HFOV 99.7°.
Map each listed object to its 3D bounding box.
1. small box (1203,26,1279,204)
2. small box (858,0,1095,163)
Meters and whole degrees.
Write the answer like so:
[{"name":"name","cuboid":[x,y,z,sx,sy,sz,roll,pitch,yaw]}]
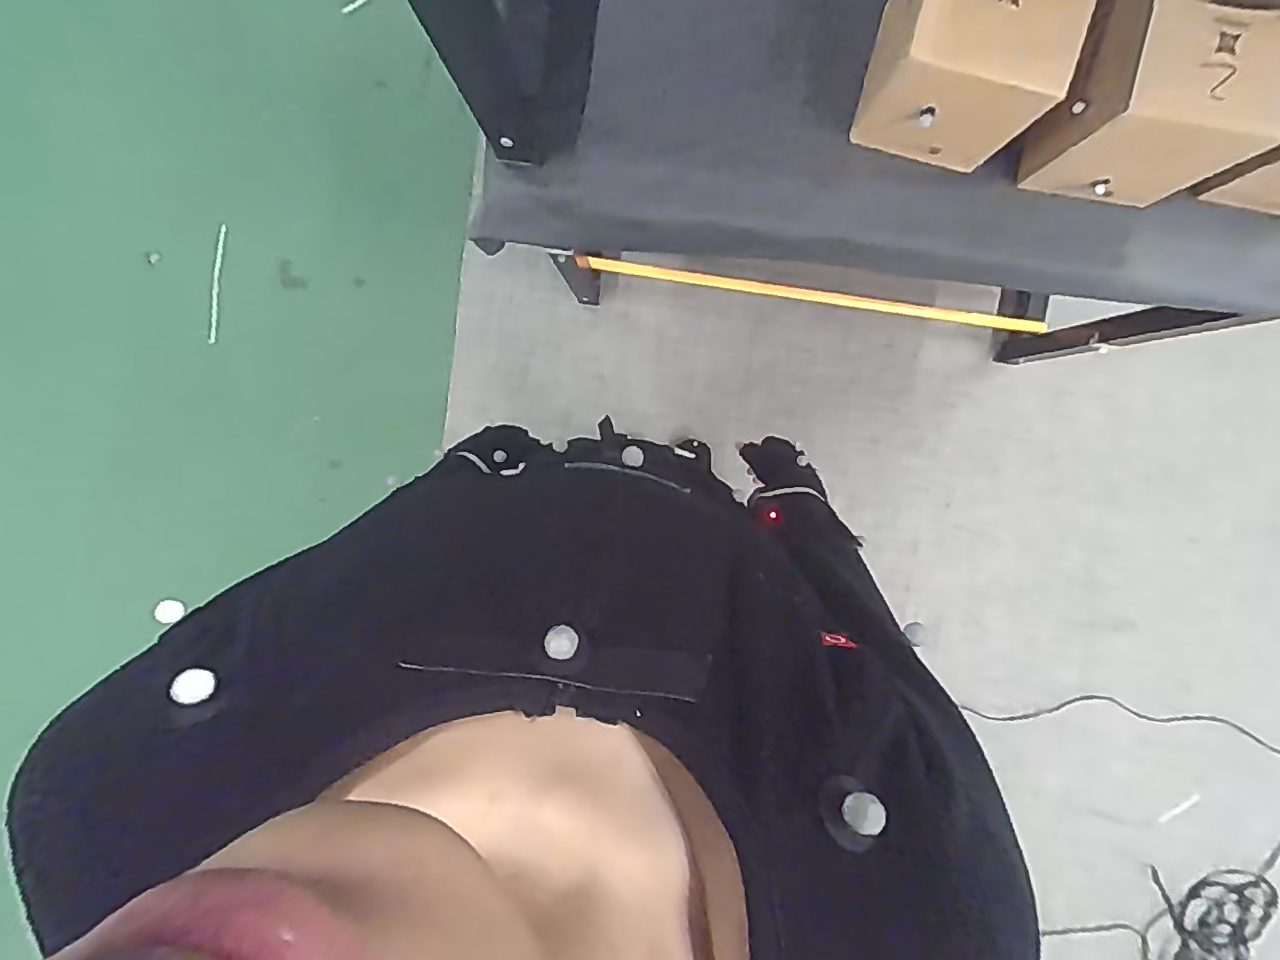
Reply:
[{"name":"small box","cuboid":[0.805,-0.428,0.604,0.168,0.176,0.179,12,95,0]},{"name":"small box","cuboid":[0.370,-0.497,0.610,0.168,0.176,0.179,15,96,0]}]
